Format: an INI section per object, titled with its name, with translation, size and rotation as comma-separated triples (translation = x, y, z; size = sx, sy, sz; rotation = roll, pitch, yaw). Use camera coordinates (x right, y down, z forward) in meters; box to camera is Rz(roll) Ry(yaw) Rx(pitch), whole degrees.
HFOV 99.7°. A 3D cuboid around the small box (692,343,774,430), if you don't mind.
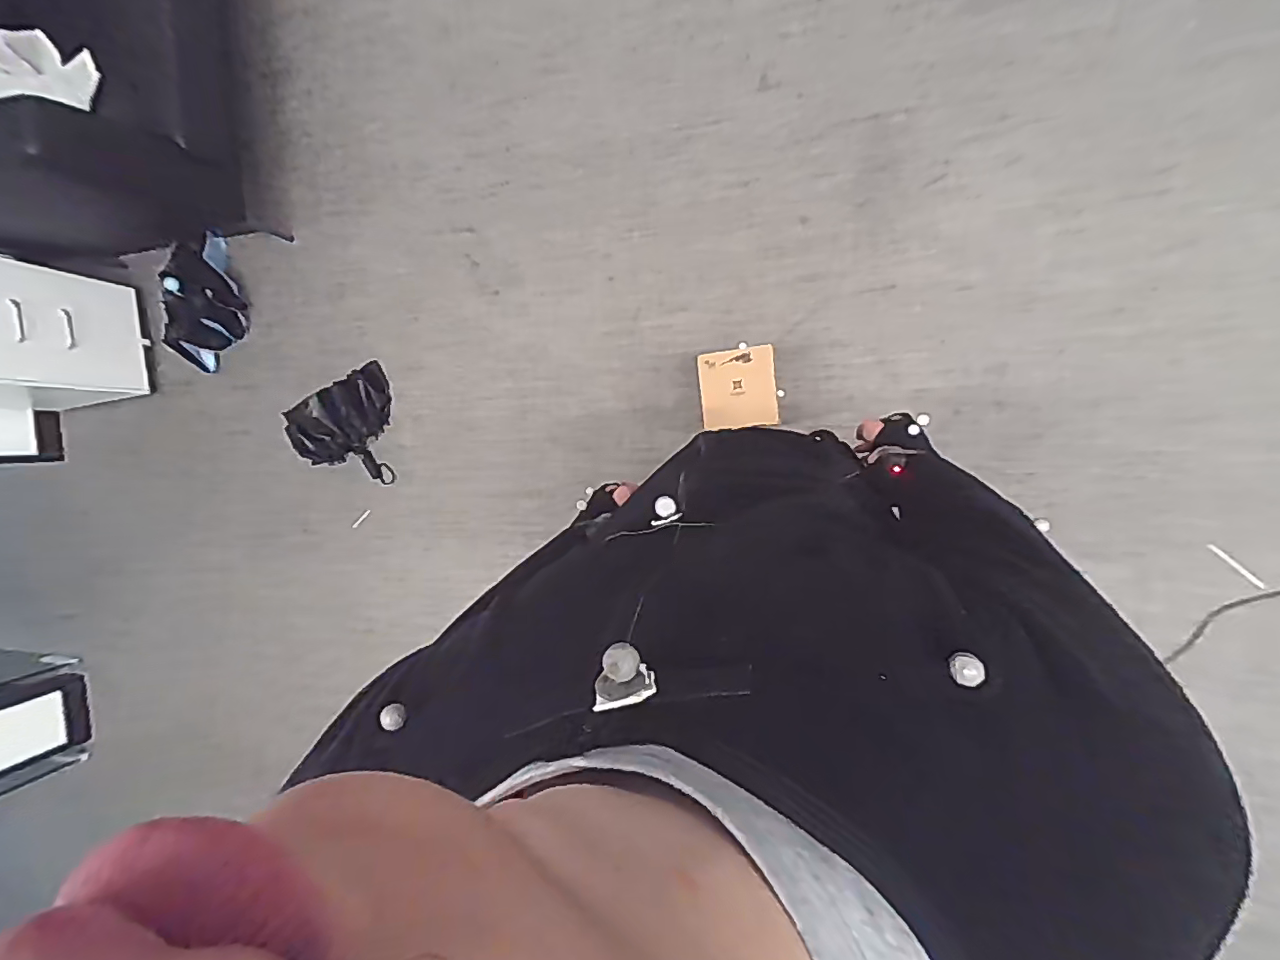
[small box]
translation = 0.225, -0.215, 1.275
size = 0.168, 0.176, 0.179
rotation = -5, 94, 16
